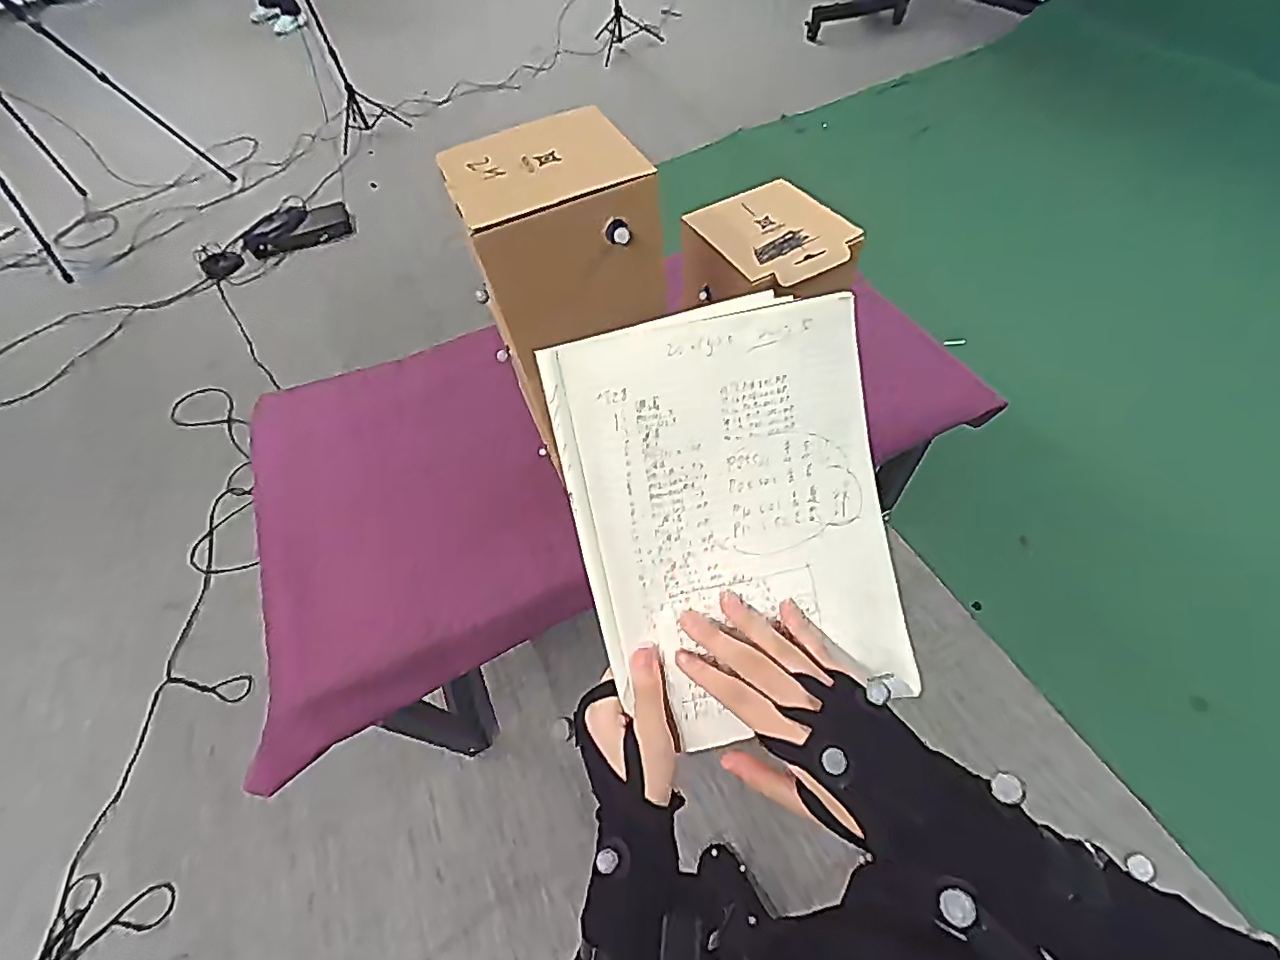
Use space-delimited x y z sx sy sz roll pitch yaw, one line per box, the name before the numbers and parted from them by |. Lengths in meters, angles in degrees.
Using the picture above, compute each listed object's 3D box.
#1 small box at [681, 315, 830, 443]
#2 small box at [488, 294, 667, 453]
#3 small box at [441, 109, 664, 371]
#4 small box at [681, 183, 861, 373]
small box | 0.182 -0.183 0.894 0.168 0.176 0.179 -24 56 -10
small box | -0.074 -0.158 0.710 0.168 0.176 0.179 -24 56 -9
small box | -0.082 -0.248 0.572 0.179 0.176 0.168 -22 55 -8
small box | 0.172 -0.273 0.758 0.168 0.176 0.179 -25 56 -11
